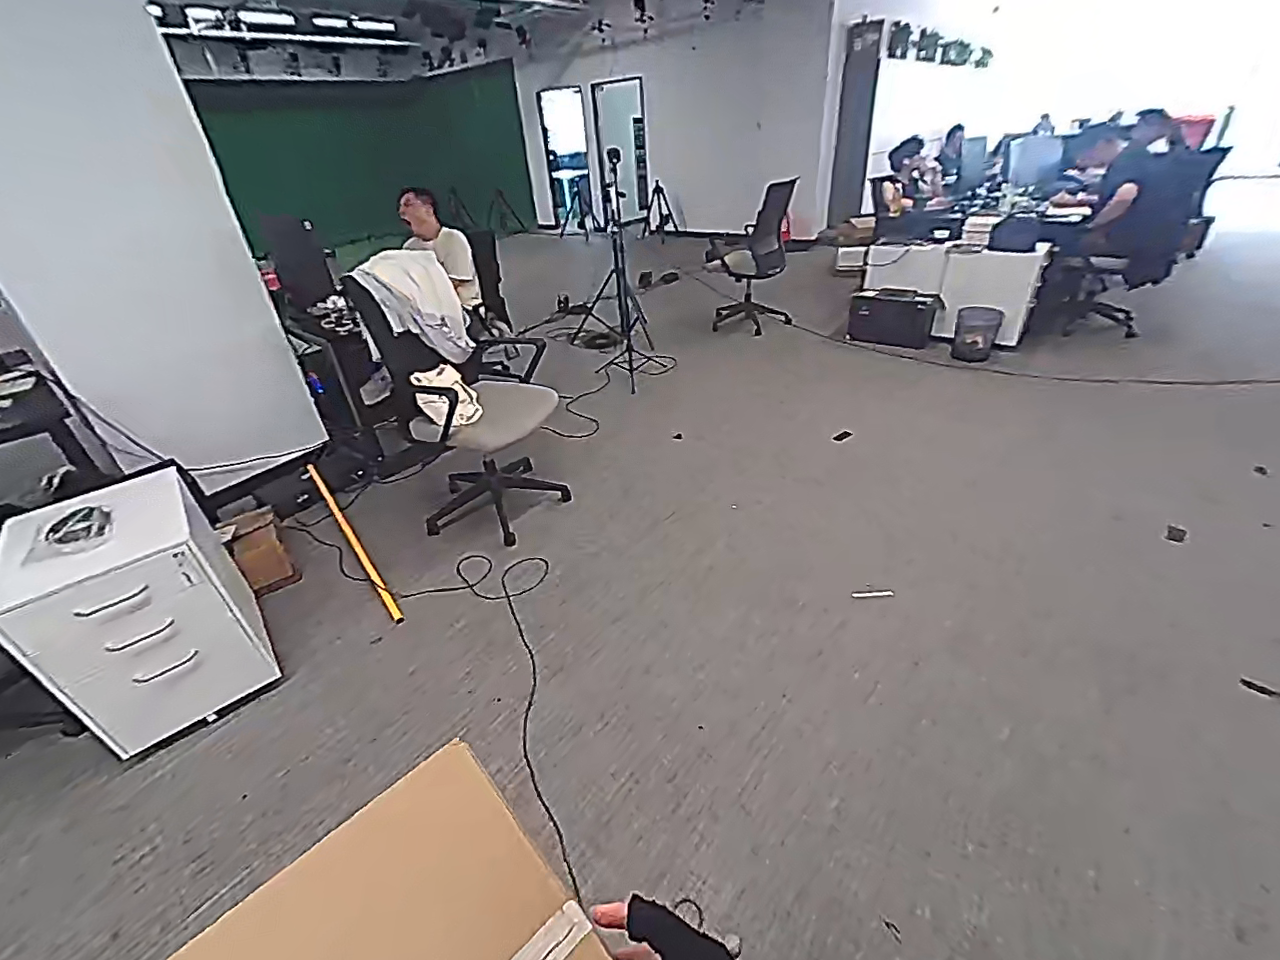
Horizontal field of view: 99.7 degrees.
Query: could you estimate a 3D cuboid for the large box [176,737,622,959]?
[{"bbox_3d":[-0.182,0.484,0.358,0.408,0.320,0.320,-32,52,-30],"label":"large box"}]
